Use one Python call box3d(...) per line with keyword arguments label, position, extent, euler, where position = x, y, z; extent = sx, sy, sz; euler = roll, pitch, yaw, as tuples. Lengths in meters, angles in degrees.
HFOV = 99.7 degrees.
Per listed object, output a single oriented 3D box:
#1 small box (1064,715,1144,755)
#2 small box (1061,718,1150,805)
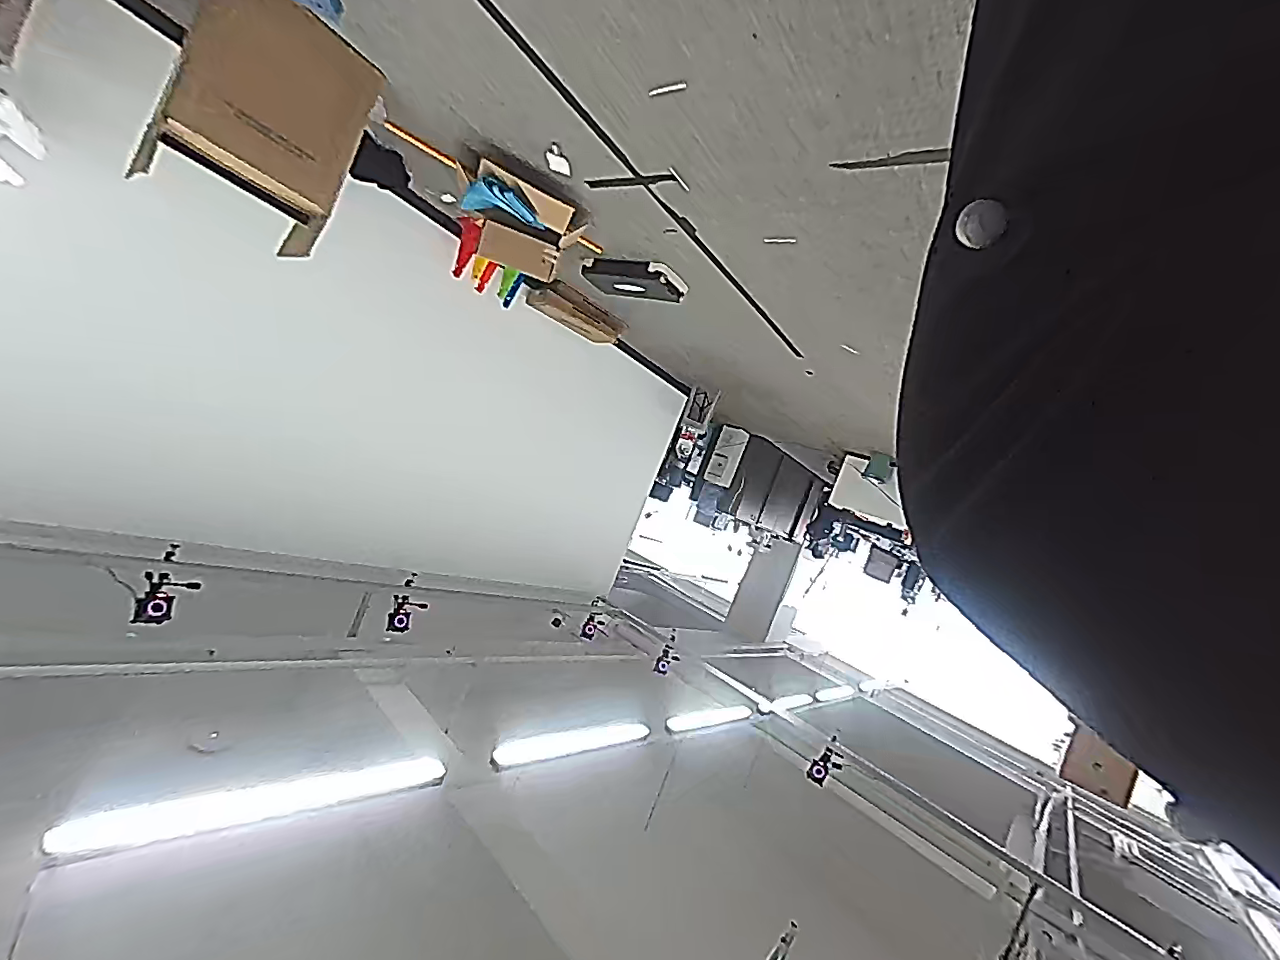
box3d(label="small box", position=(1.551, 0.911, 1.811), extent=(0.168, 0.176, 0.179), euler=(21, 179, 39))
box3d(label="small box", position=(1.416, 0.859, 1.653), extent=(0.168, 0.176, 0.179), euler=(21, 179, 39))
